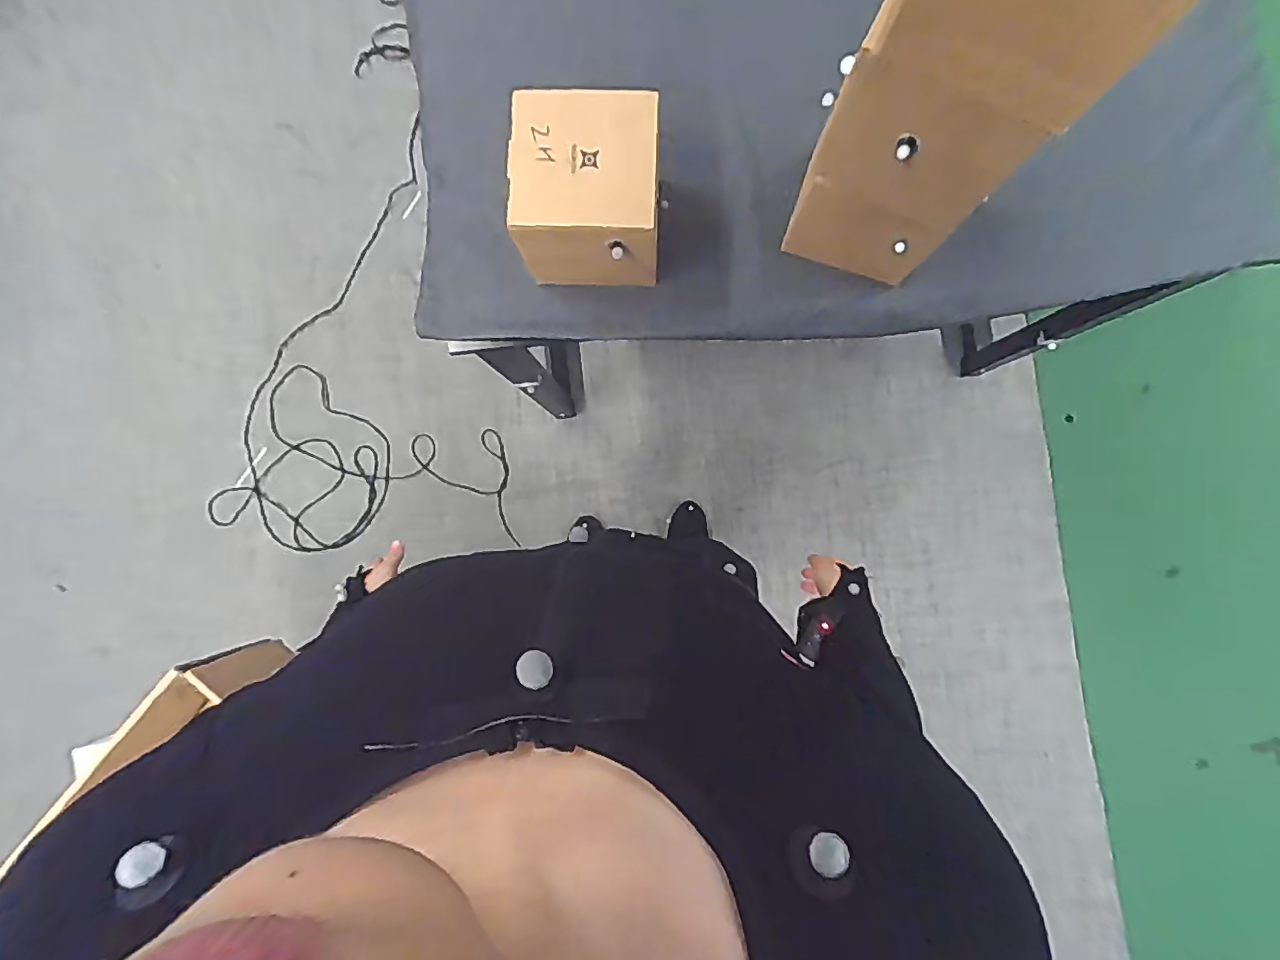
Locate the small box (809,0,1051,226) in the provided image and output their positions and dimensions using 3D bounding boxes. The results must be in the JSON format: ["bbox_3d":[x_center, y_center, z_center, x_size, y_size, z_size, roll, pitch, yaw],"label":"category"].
[{"bbox_3d":[0.297,-0.386,0.534,0.179,0.176,0.168,27,88,4],"label":"small box"}]

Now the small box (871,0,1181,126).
[{"bbox_3d":[0.294,-0.394,0.372,0.179,0.176,0.168,27,88,3],"label":"small box"}]

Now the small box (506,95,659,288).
[{"bbox_3d":[-0.065,-0.366,0.712,0.179,0.176,0.168,2,88,2],"label":"small box"}]
